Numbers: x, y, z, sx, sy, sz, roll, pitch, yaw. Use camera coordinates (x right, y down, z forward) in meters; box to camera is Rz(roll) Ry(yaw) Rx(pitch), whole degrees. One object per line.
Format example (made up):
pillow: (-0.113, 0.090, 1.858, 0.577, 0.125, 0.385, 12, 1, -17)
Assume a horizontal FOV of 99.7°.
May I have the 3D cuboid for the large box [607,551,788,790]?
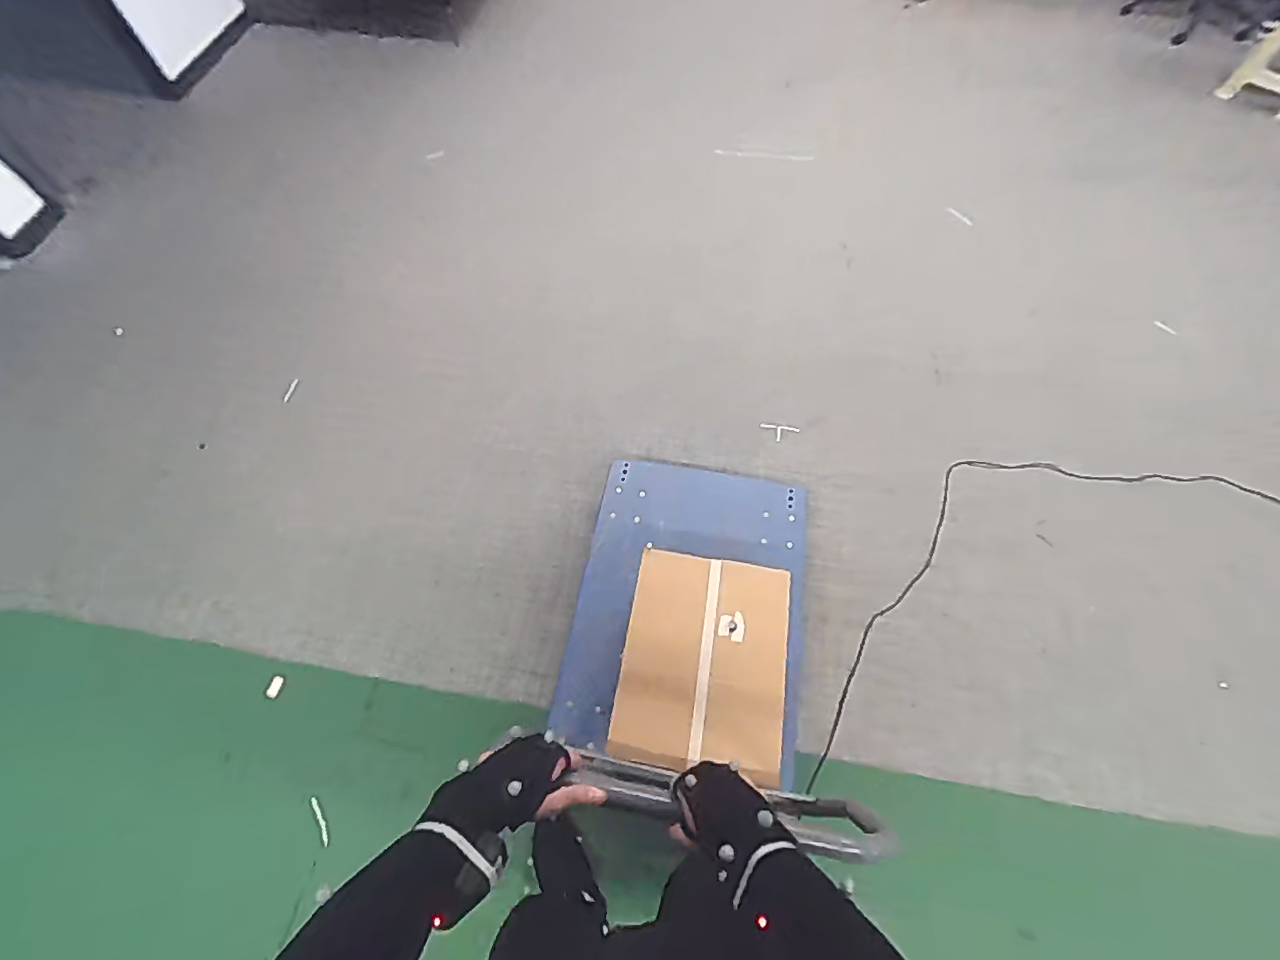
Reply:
large box: (0.124, 0.416, 1.166, 0.320, 0.320, 0.408, 10, 61, 5)
